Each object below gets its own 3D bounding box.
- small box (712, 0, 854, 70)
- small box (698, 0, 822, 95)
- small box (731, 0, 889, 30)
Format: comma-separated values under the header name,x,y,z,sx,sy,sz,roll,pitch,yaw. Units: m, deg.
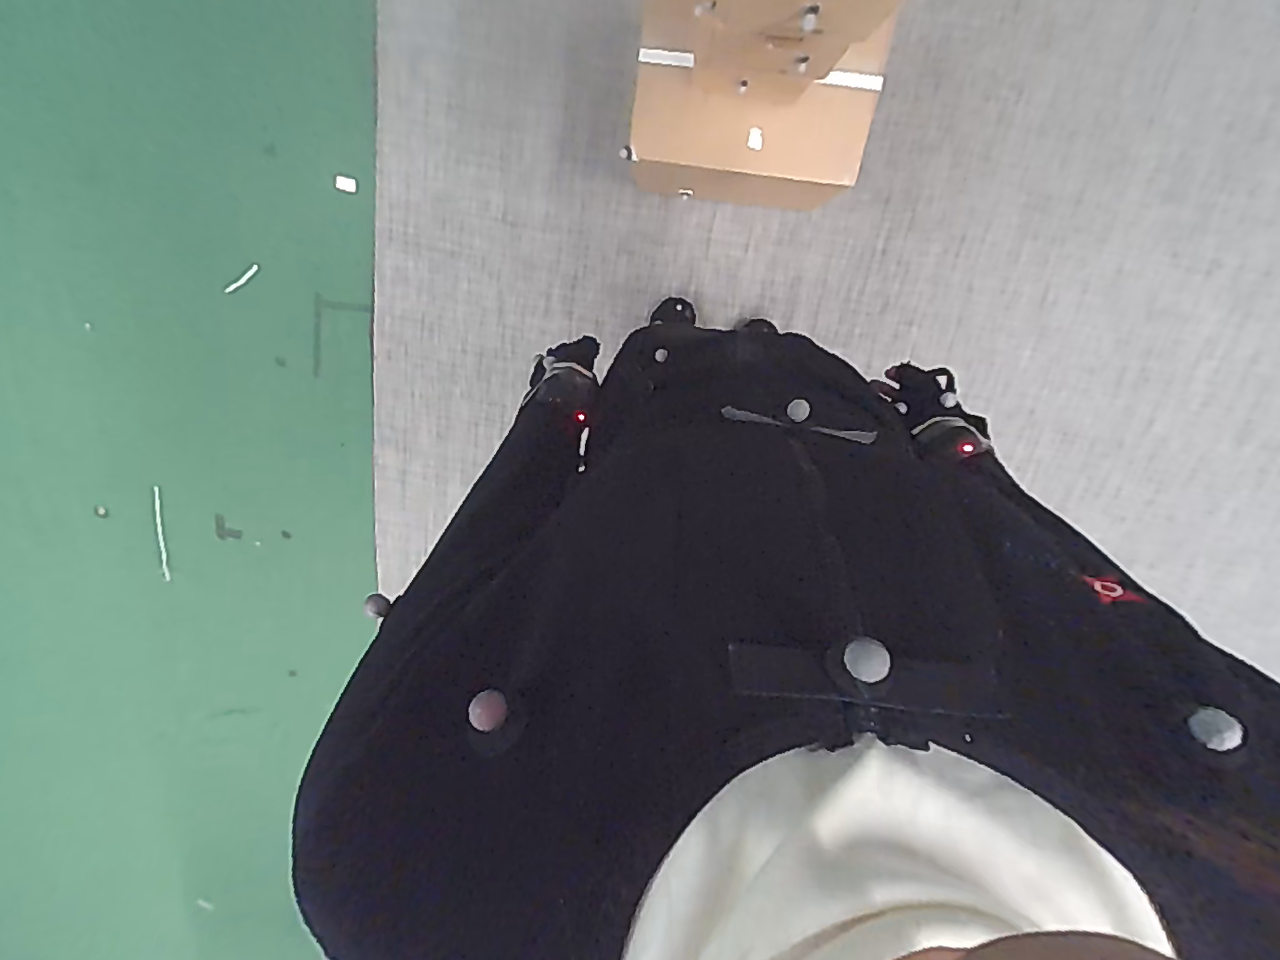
name,x,y,z,sx,sy,sz,roll,pitch,yaw
small box,0.180,-0.628,0.658,0.168,0.176,0.179,6,114,2
small box,0.187,-0.695,0.806,0.179,0.176,0.168,8,116,1
small box,0.180,-0.560,0.510,0.168,0.176,0.179,6,116,2
